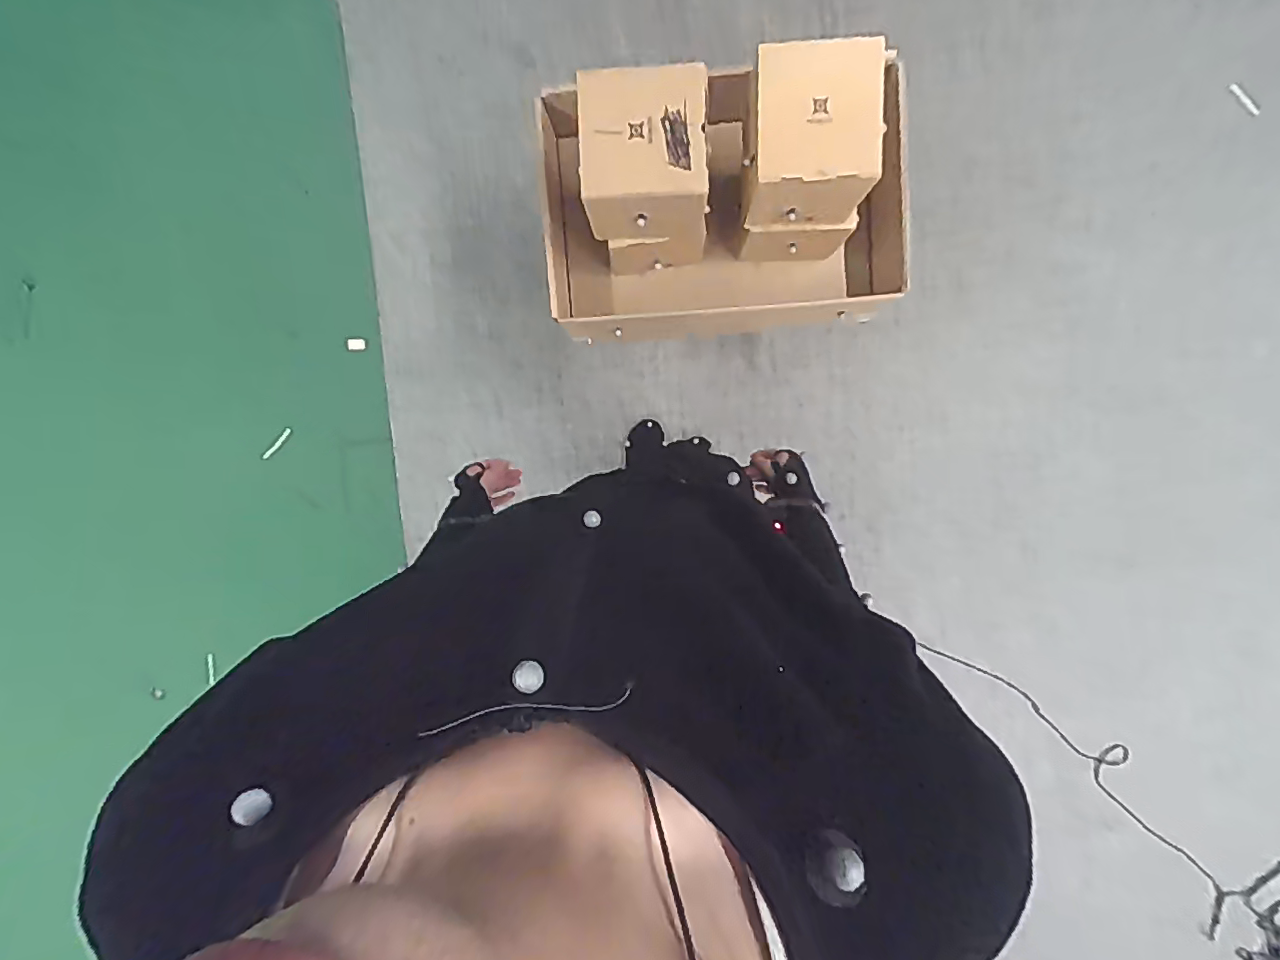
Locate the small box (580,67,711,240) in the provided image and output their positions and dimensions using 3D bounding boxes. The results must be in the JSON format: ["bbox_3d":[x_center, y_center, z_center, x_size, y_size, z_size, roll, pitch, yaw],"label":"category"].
[{"bbox_3d":[0.010,-0.470,0.803,0.179,0.176,0.168,-1,94,3],"label":"small box"}]

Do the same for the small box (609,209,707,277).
[{"bbox_3d":[0.023,-0.485,0.966,0.168,0.176,0.179,-7,95,3],"label":"small box"}]

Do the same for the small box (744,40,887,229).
[{"bbox_3d":[0.245,-0.492,0.792,0.168,0.176,0.179,-1,95,4],"label":"small box"}]
